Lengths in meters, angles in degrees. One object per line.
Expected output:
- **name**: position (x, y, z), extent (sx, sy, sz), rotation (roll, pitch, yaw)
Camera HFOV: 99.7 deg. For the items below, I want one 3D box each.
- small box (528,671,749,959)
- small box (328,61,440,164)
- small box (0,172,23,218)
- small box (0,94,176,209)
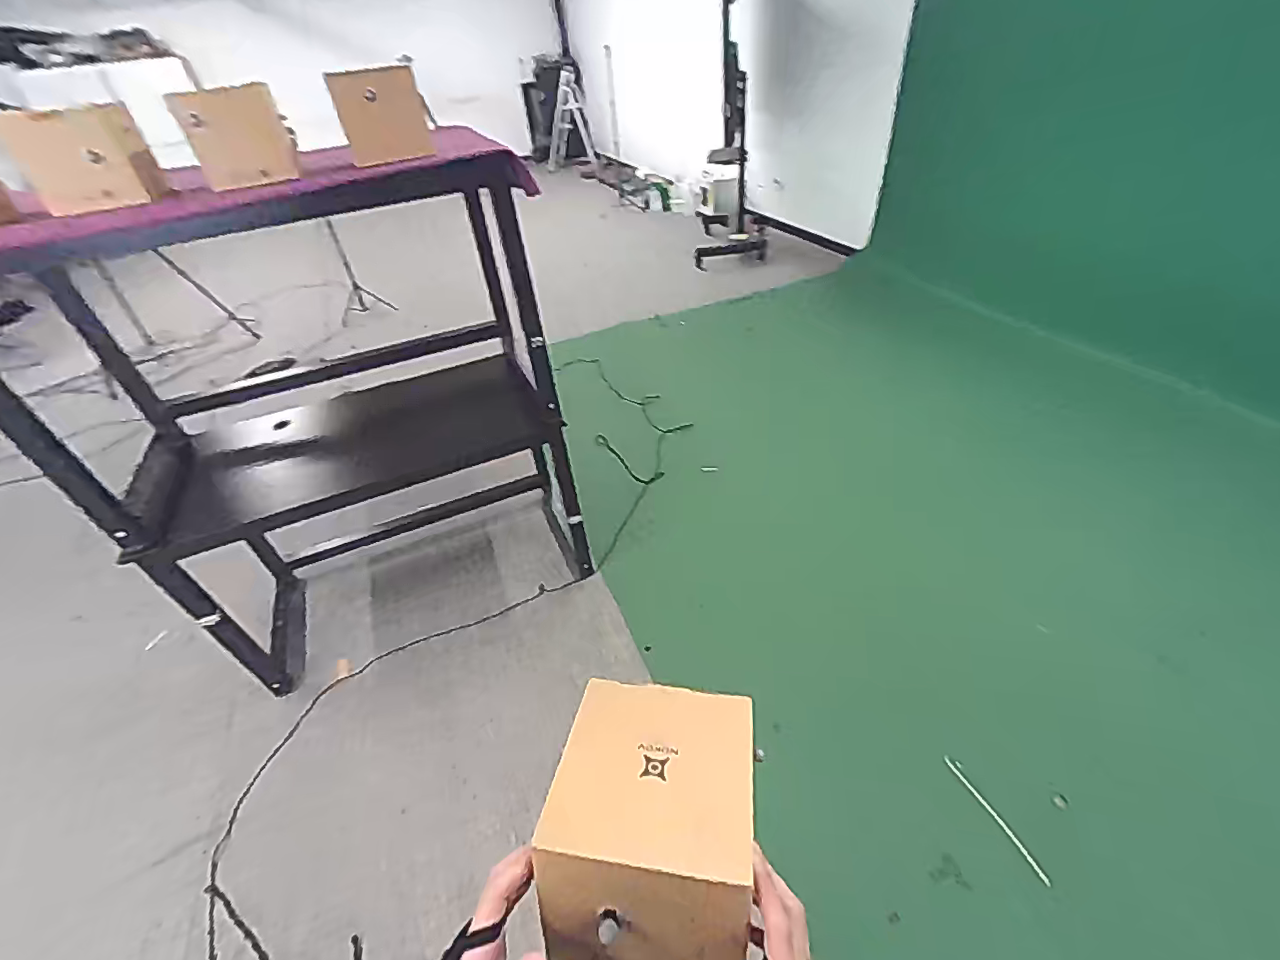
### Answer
- **small box**: position (0.012, 0.308, 0.493), extent (0.168, 0.176, 0.179), rotation (3, 24, 9)
- **small box**: position (-0.566, -0.818, 1.207), extent (0.179, 0.176, 0.168), rotation (-18, 40, -15)
- **small box**: position (-1.320, -0.559, 0.991), extent (0.179, 0.176, 0.168), rotation (-20, 41, -17)
- **small box**: position (-1.072, -0.646, 1.066), extent (0.168, 0.176, 0.179), rotation (-17, 39, -14)
